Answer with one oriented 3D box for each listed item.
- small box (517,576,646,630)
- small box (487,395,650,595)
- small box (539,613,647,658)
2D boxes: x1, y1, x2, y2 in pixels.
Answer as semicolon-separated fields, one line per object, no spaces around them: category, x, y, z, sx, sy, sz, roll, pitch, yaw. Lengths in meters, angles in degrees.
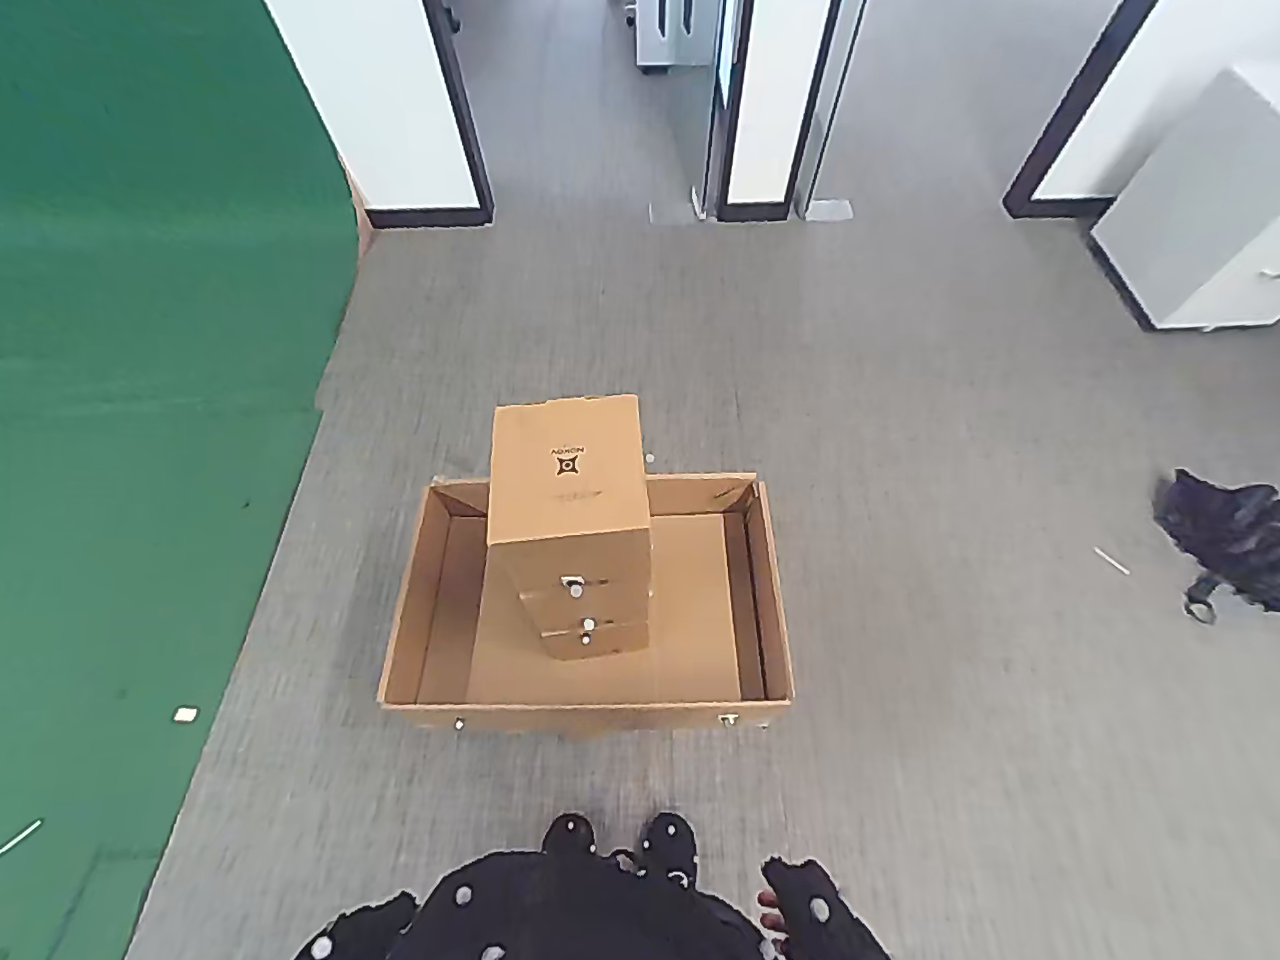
small box;-0.081;0.105;0.792;0.168;0.176;0.179;-6;60;-2
small box;-0.077;0.023;0.653;0.168;0.176;0.179;-6;60;-1
small box;-0.079;0.191;0.932;0.168;0.176;0.179;-7;59;-2
